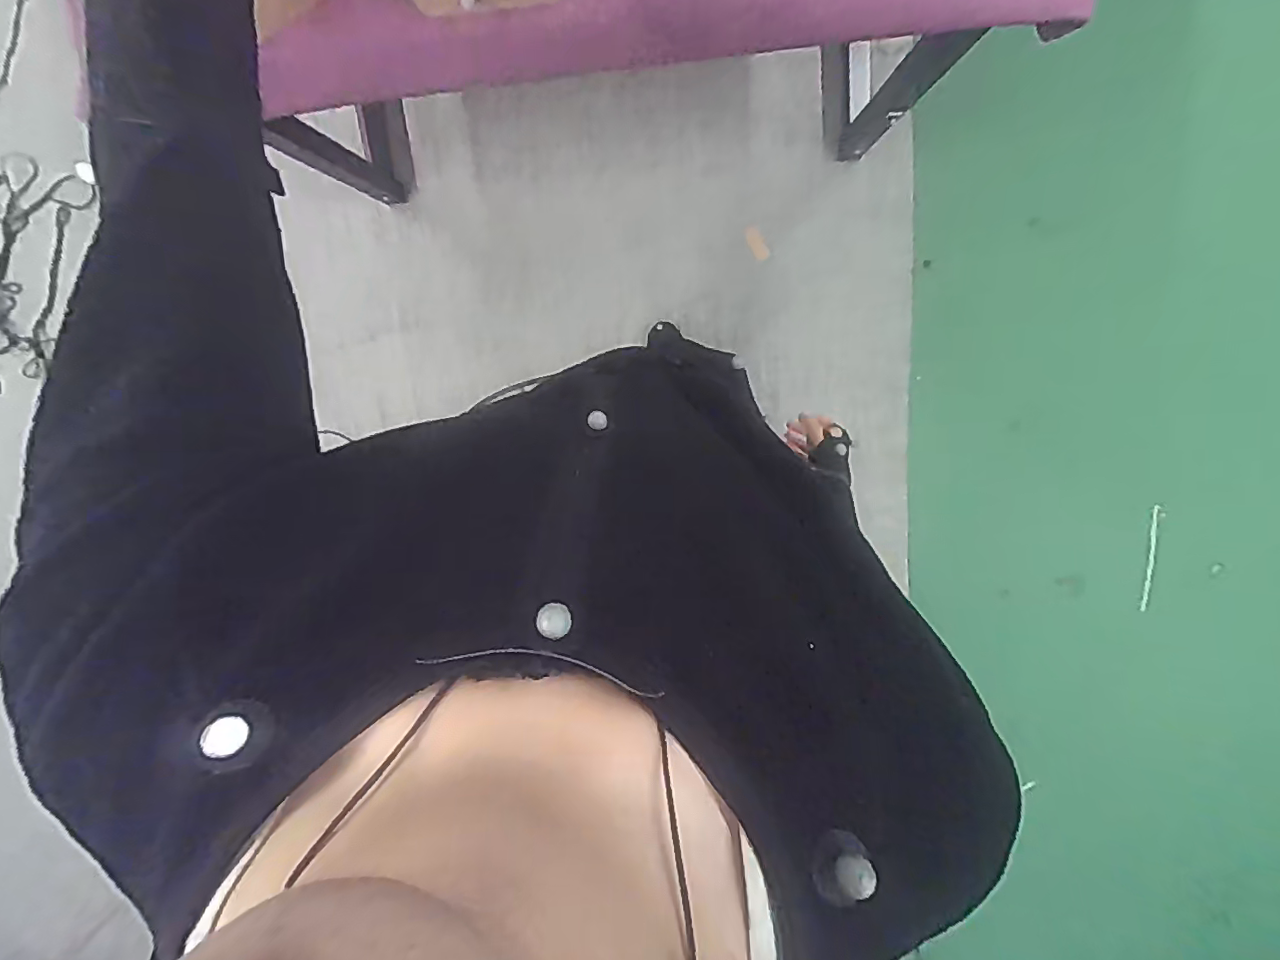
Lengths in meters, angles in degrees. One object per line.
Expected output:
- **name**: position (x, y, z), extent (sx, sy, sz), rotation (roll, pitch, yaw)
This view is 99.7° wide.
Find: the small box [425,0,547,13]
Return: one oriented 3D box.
- **small box**: position (-0.186, -0.624, 0.540), extent (0.168, 0.176, 0.179), rotation (-3, 103, 4)
